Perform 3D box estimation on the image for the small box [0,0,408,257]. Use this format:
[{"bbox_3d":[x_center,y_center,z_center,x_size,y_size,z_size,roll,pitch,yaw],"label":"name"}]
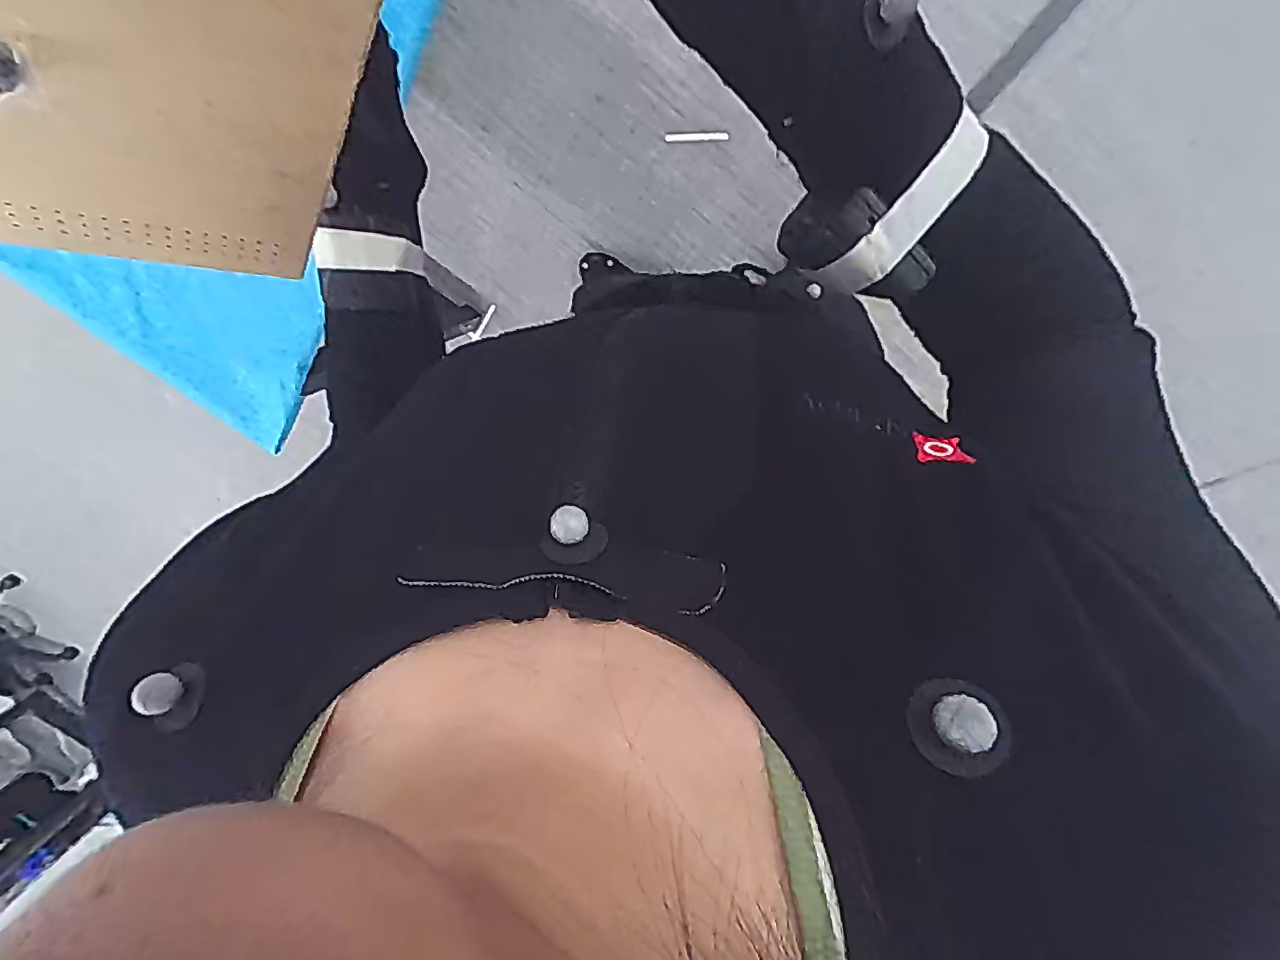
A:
[{"bbox_3d":[-0.200,-0.199,0.176,0.176,0.179,0.168,-22,79,49],"label":"small box"}]
